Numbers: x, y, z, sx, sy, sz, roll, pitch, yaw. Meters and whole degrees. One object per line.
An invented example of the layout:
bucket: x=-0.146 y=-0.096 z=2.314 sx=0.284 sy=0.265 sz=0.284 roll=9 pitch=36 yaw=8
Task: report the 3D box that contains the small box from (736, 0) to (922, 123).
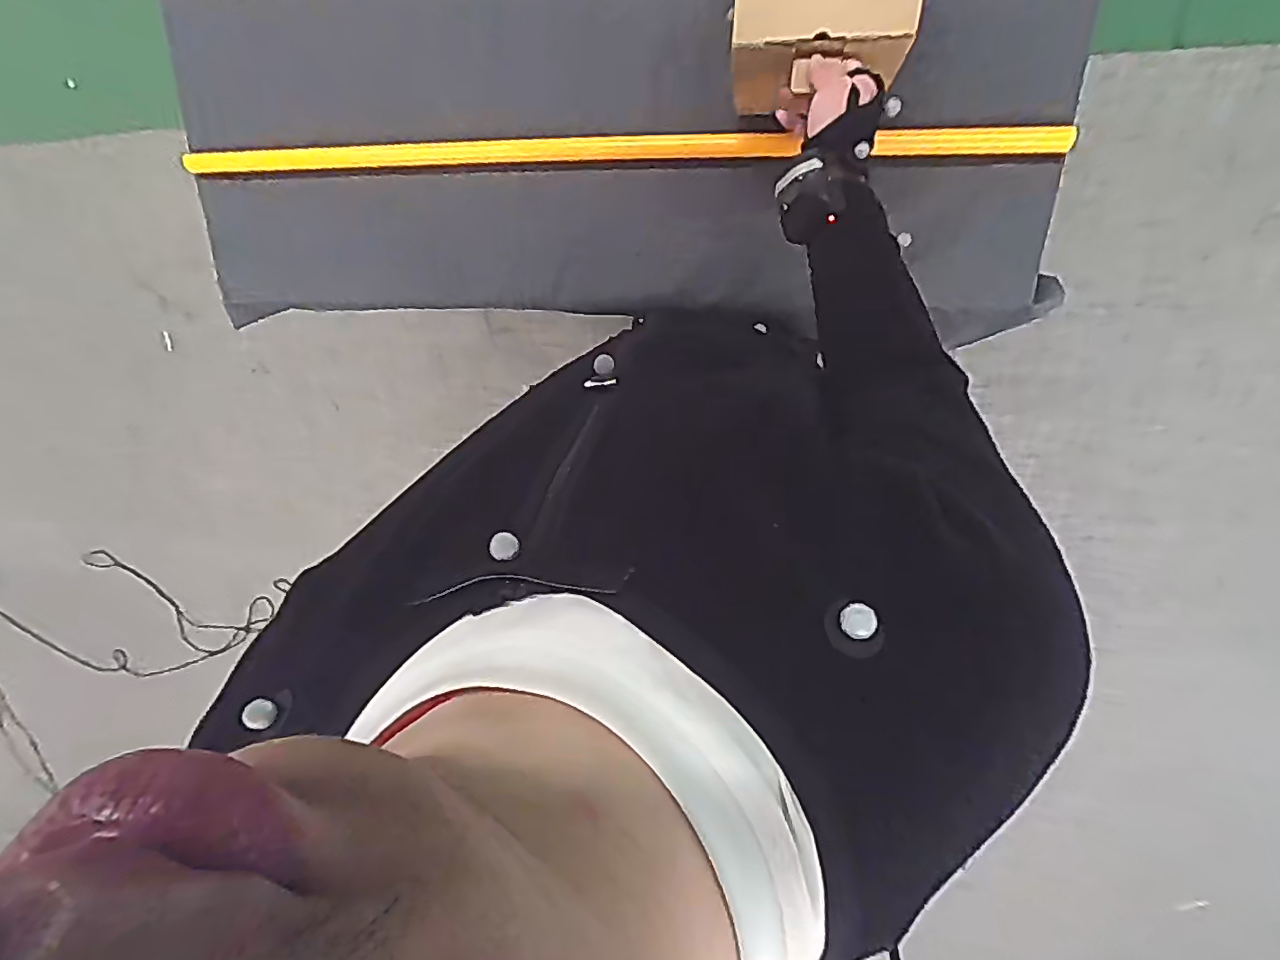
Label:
small box: x=0.193 y=-0.496 z=0.562 sx=0.168 sy=0.176 sz=0.179 roll=4 pitch=104 yaw=13
